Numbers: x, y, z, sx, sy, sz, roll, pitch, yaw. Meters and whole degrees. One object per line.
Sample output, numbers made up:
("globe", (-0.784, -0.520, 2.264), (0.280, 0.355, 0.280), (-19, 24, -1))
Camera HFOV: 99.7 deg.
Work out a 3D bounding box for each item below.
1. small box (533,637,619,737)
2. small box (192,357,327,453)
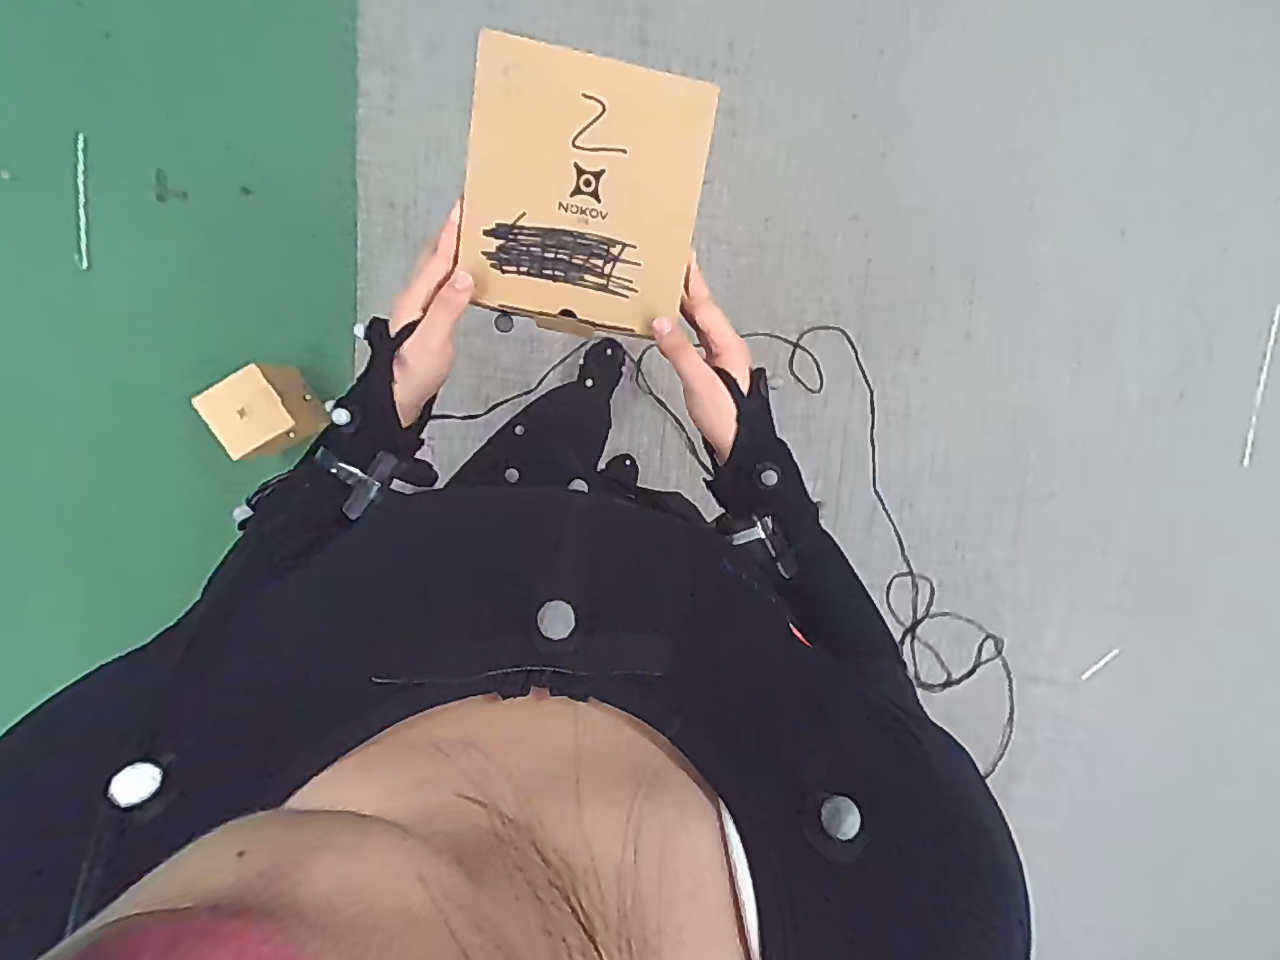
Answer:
("small box", (-0.172, 0.553, 1.470), (0.179, 0.176, 0.168), (25, 97, -8))
("small box", (-0.919, -0.181, 1.325), (0.179, 0.176, 0.168), (-31, 98, 1))
